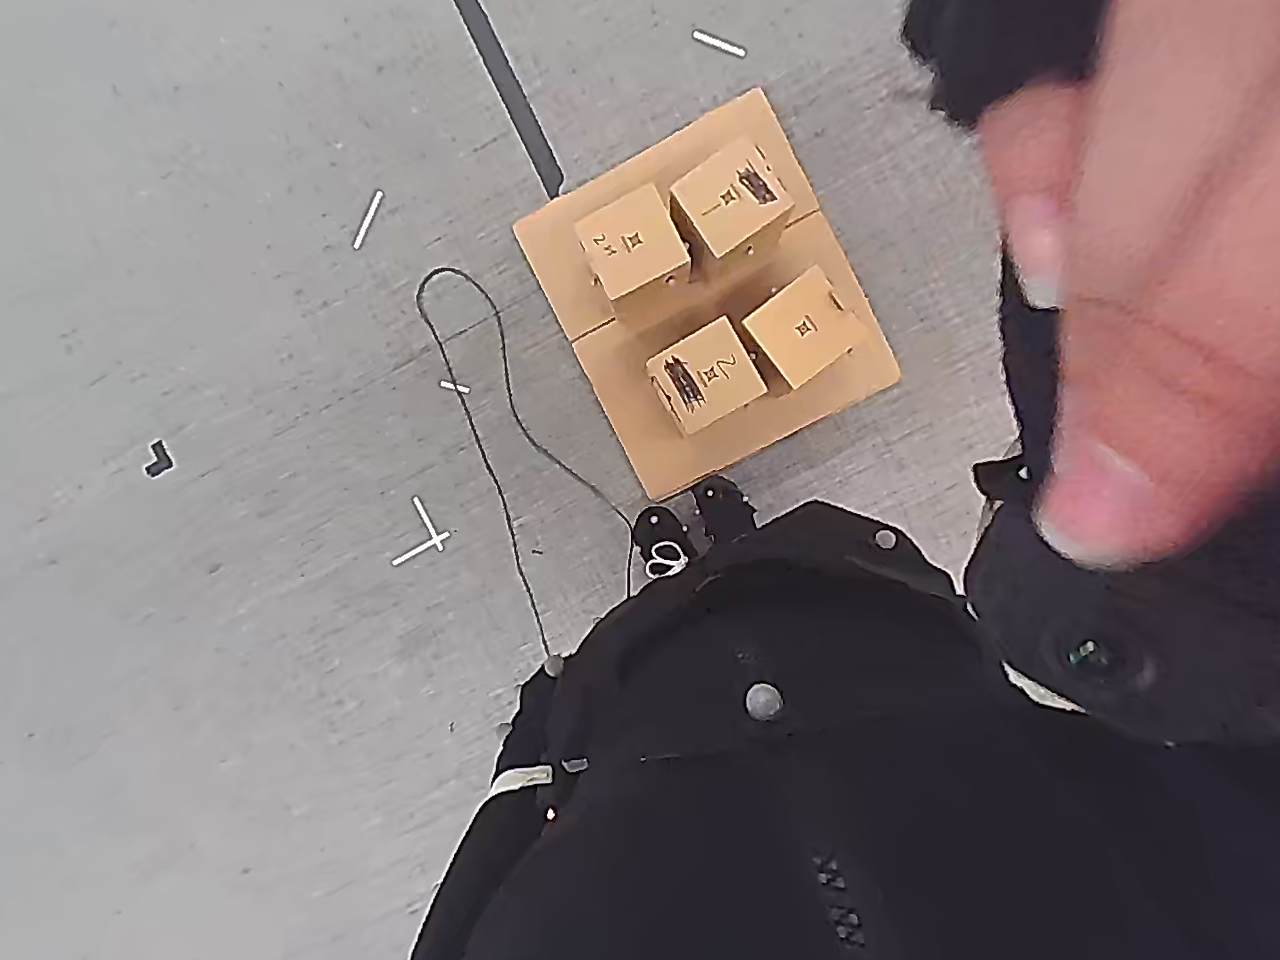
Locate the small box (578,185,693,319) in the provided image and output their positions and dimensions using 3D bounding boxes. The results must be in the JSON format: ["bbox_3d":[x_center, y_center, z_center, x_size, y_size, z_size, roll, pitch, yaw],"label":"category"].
[{"bbox_3d":[-0.007,-0.456,1.111,0.179,0.176,0.168,-26,91,5],"label":"small box"}]

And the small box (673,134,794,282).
[{"bbox_3d":[0.180,-0.536,1.092,0.179,0.176,0.168,-34,90,6],"label":"small box"}]
